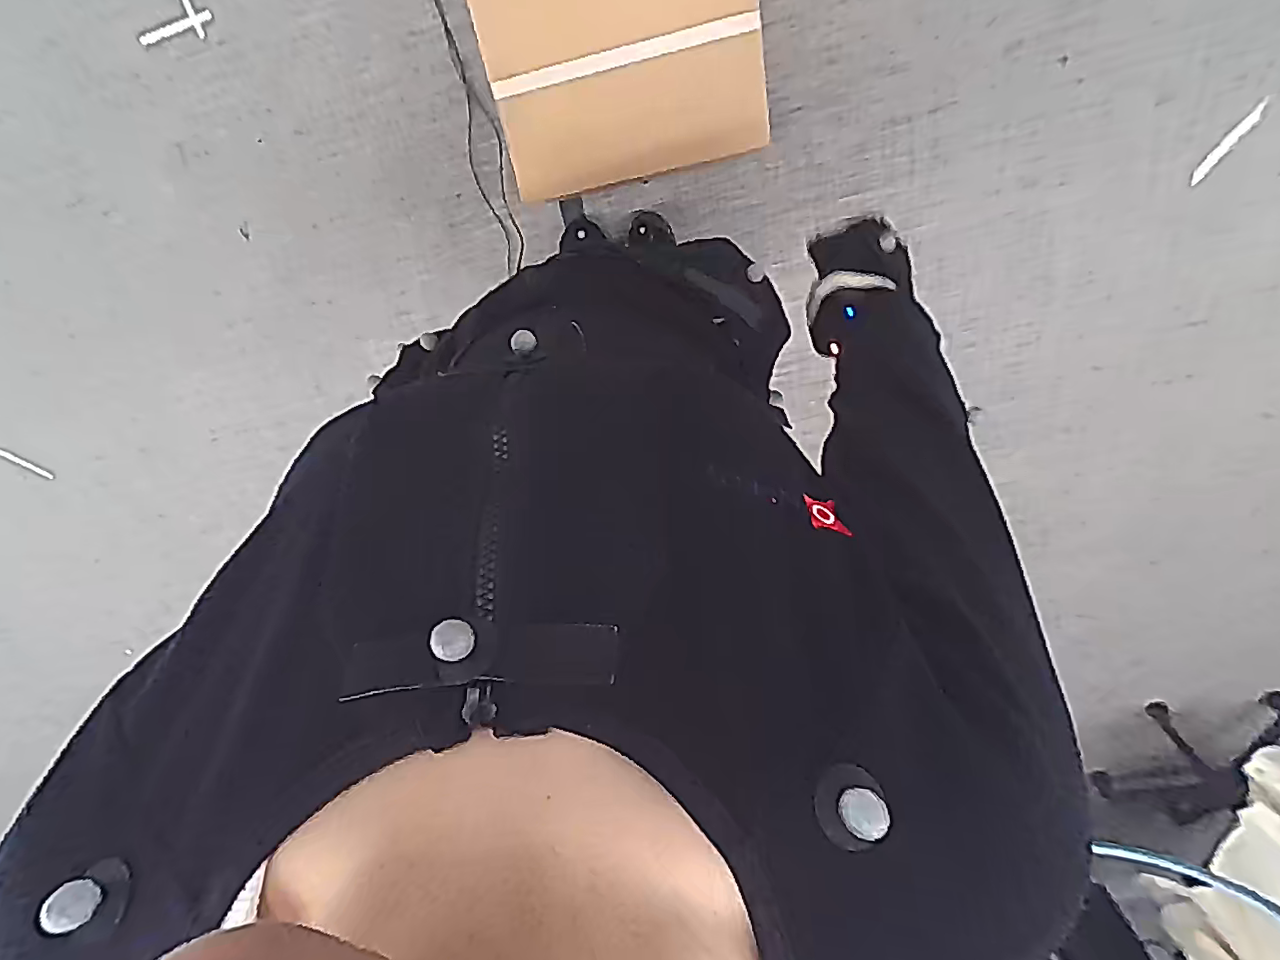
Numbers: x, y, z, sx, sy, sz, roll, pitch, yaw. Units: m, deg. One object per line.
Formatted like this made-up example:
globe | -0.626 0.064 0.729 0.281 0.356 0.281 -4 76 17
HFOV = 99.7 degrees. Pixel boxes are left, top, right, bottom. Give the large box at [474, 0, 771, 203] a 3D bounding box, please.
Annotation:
large box | -0.018 -0.692 0.931 0.408 0.320 0.320 -10 118 6
